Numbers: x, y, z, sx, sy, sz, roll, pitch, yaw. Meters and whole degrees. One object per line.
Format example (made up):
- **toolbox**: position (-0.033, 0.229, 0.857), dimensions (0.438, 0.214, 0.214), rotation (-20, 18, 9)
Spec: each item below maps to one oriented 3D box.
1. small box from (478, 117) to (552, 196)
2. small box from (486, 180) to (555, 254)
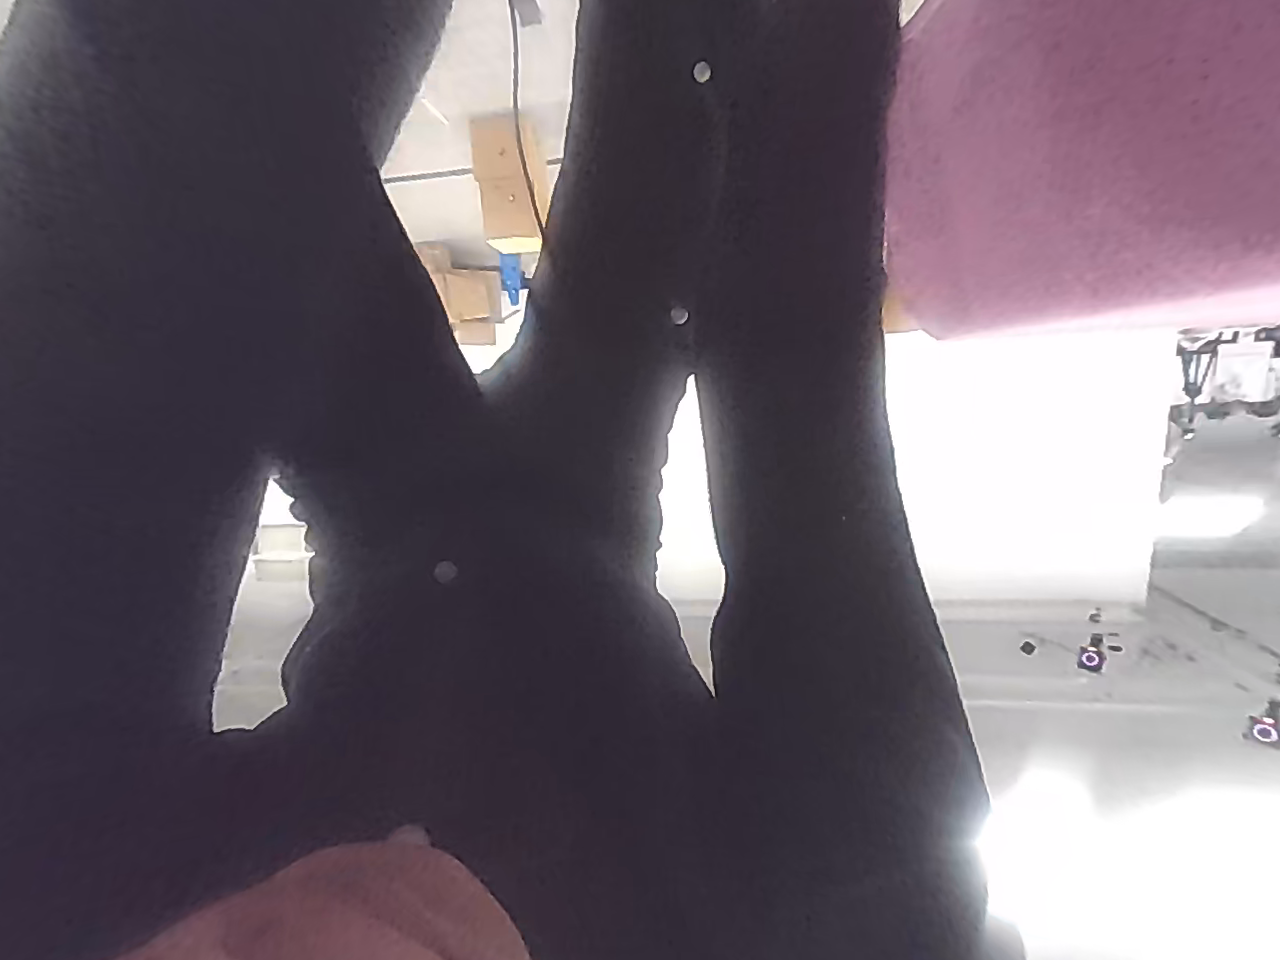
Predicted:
- **small box**: position (-0.381, -0.976, 1.650), dimensions (0.179, 0.176, 0.168), rotation (-1, -169, 10)
- **small box**: position (-0.369, -0.818, 1.690), dimensions (0.168, 0.176, 0.179), rotation (-1, -170, 6)
